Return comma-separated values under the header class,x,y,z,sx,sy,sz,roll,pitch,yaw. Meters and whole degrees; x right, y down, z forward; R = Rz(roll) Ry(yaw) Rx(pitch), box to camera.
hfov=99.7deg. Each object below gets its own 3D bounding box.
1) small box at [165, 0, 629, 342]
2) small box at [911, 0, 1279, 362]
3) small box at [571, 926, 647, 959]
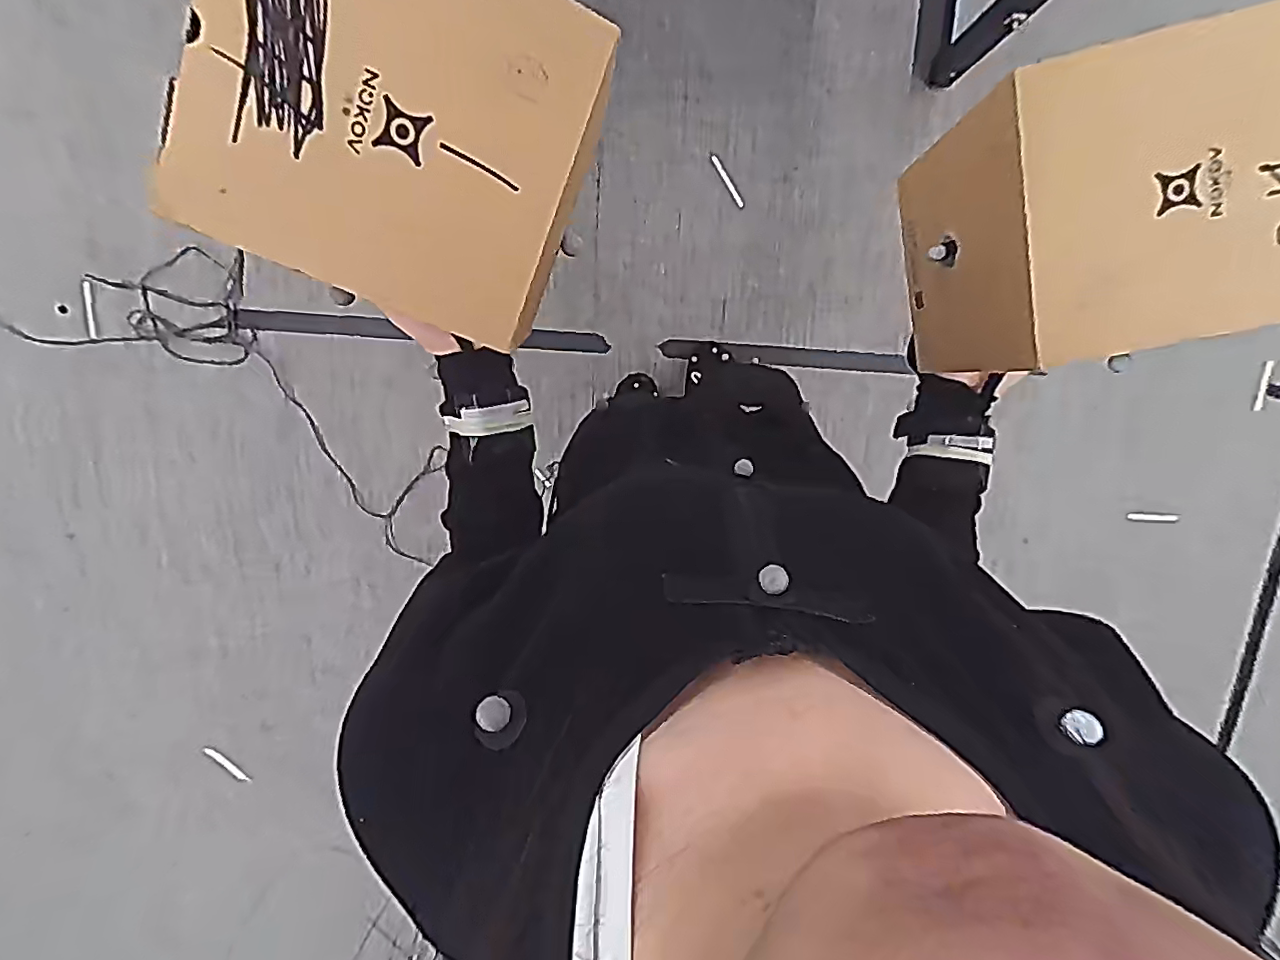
class,x,y,z,sx,sy,sz,roll,pitch,yaw
small box,-0.124,-0.197,0.330,0.179,0.176,0.168,20,105,-14
small box,0.308,-0.180,0.375,0.179,0.176,0.168,-11,101,6
small box,-0.075,1.121,1.176,0.168,0.176,0.179,7,101,-3
